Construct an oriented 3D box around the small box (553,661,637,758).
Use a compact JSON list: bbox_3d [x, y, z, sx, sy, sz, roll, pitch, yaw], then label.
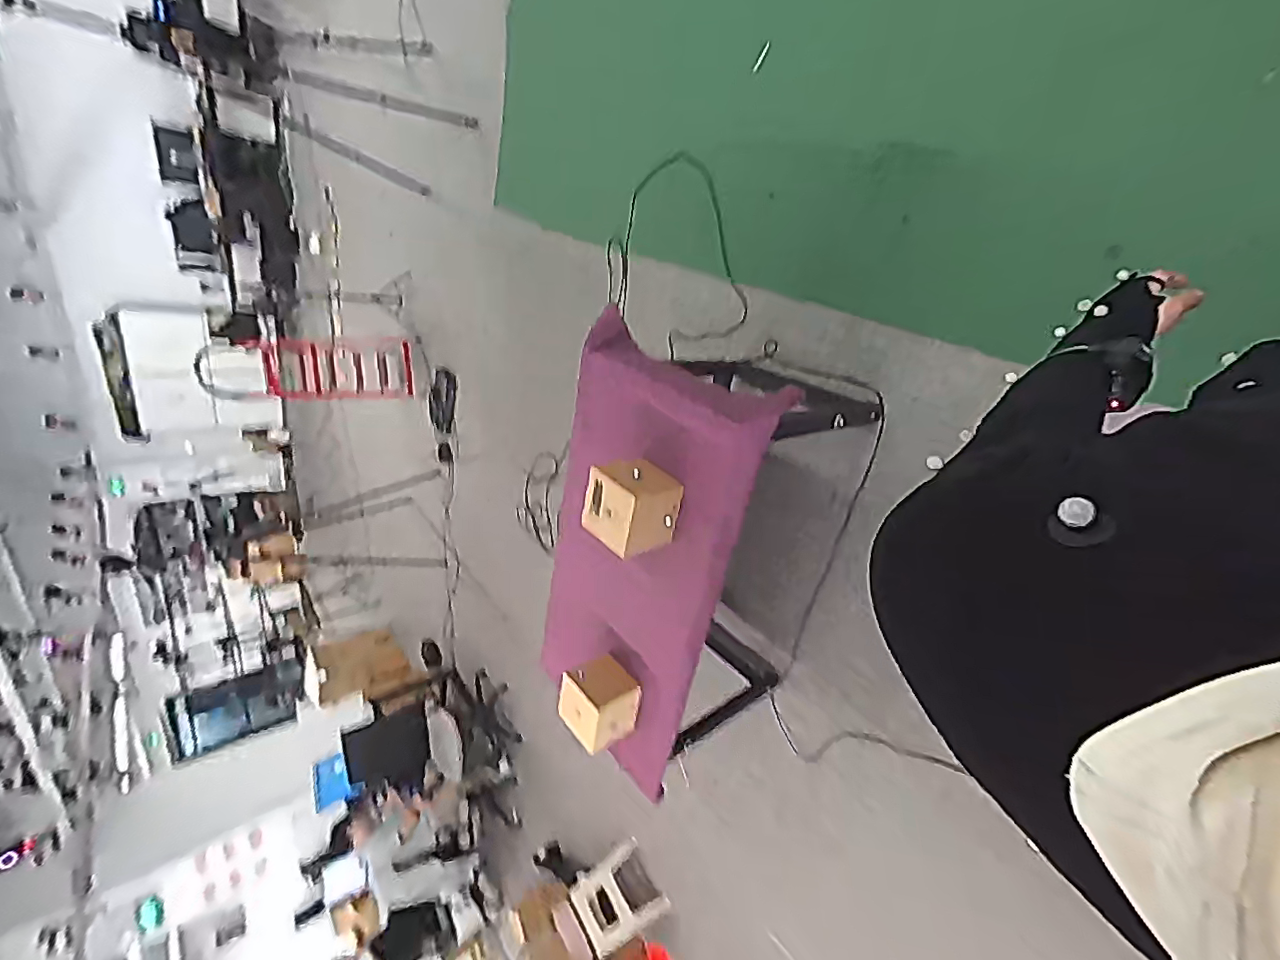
[{"bbox_3d":[-0.131,0.664,1.591,0.179,0.176,0.168,32,121,41],"label":"small box"}]
